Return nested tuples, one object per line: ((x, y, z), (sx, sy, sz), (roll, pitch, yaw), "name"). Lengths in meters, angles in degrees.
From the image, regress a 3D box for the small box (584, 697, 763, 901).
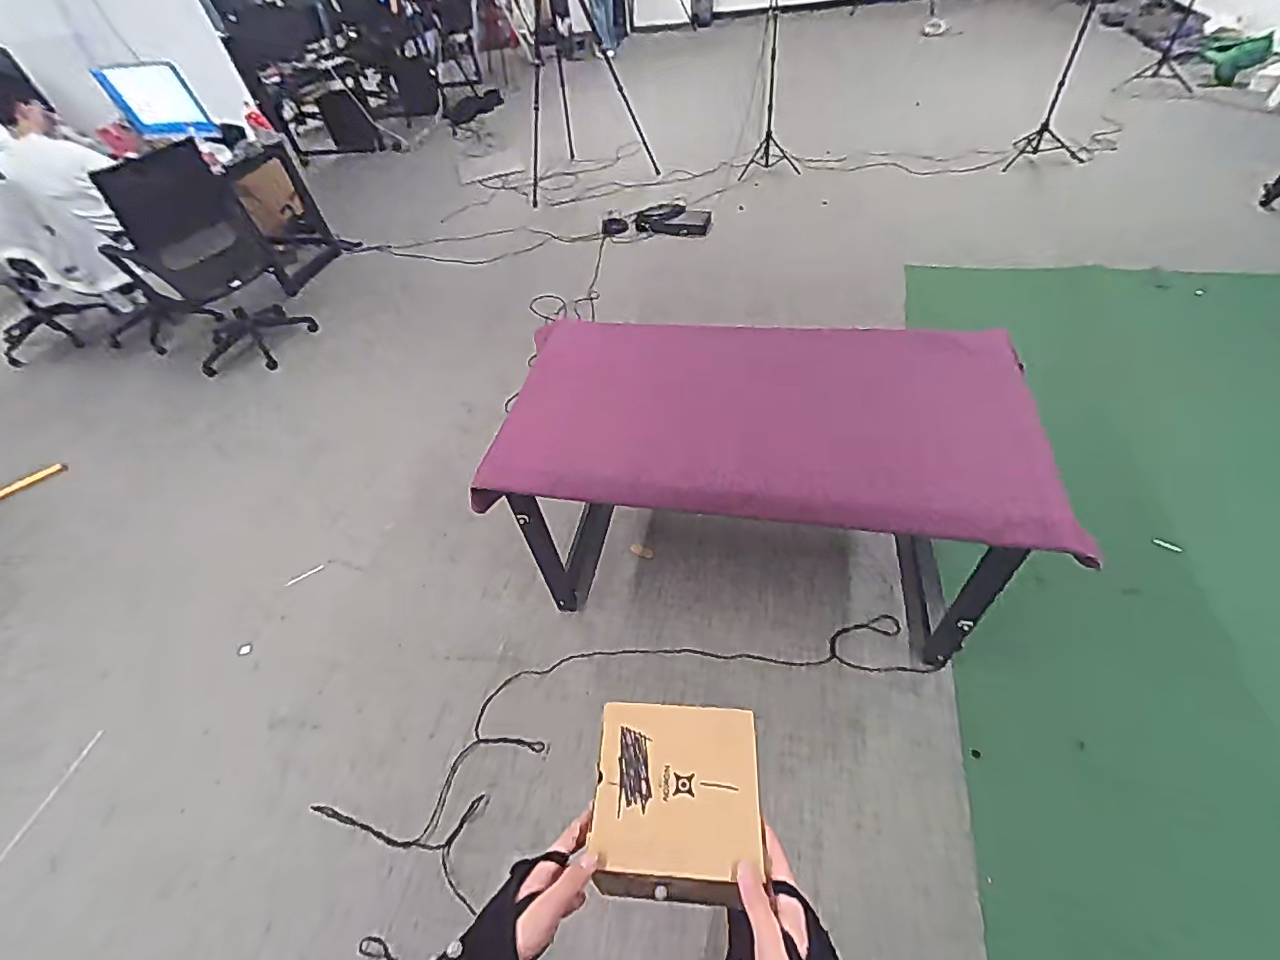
((0.041, 0.372, 0.629), (0.179, 0.176, 0.168), (2, 46, 5), "small box")
